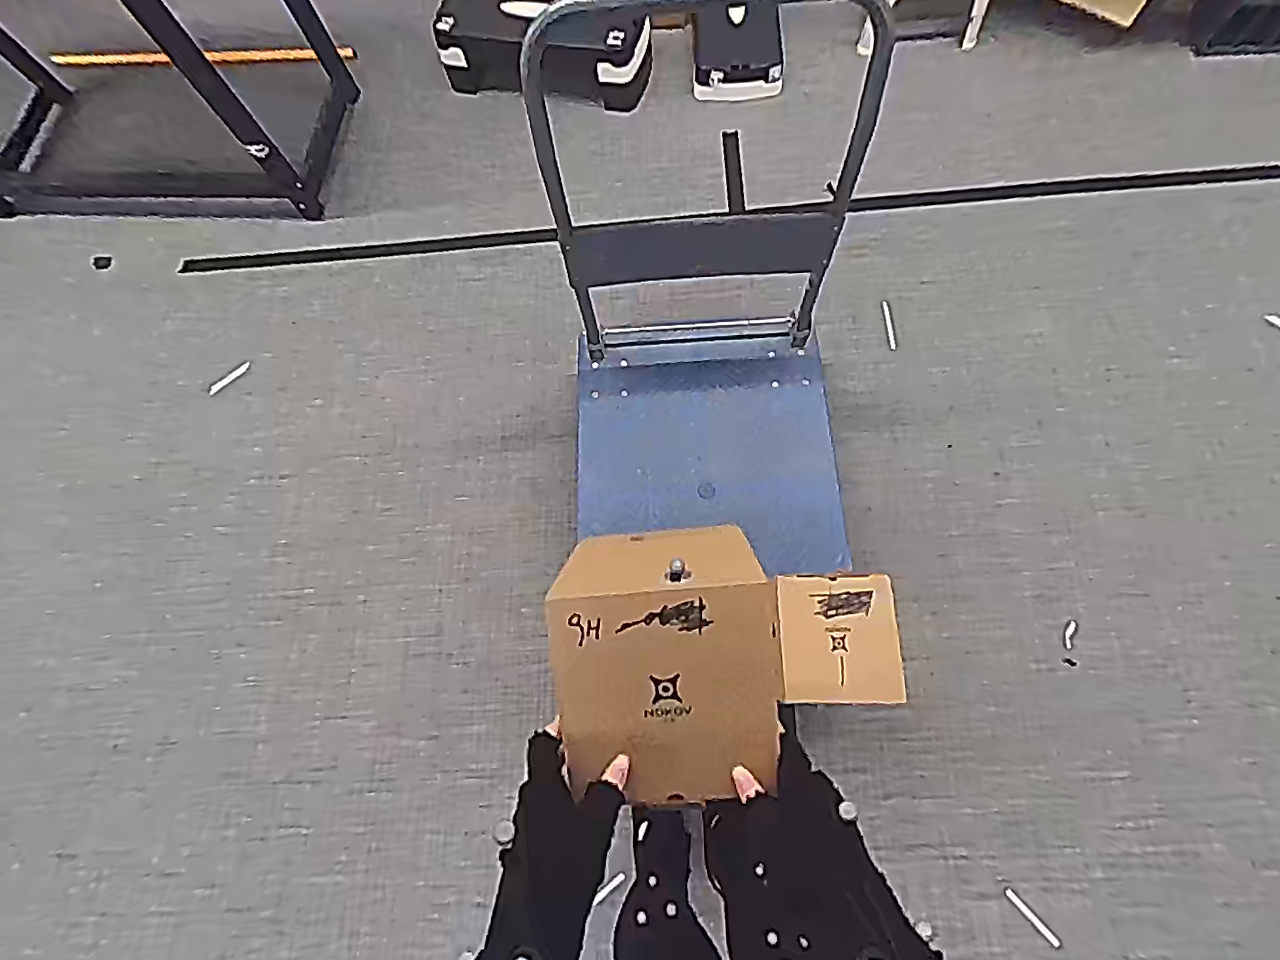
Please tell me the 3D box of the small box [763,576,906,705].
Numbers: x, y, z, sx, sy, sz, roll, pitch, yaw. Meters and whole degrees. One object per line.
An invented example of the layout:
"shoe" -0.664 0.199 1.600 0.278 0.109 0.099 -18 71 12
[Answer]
"small box" 0.285 0.249 0.839 0.168 0.176 0.179 -1 72 3

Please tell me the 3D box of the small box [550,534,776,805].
"small box" 0.024 0.159 0.496 0.168 0.176 0.179 -5 97 4
